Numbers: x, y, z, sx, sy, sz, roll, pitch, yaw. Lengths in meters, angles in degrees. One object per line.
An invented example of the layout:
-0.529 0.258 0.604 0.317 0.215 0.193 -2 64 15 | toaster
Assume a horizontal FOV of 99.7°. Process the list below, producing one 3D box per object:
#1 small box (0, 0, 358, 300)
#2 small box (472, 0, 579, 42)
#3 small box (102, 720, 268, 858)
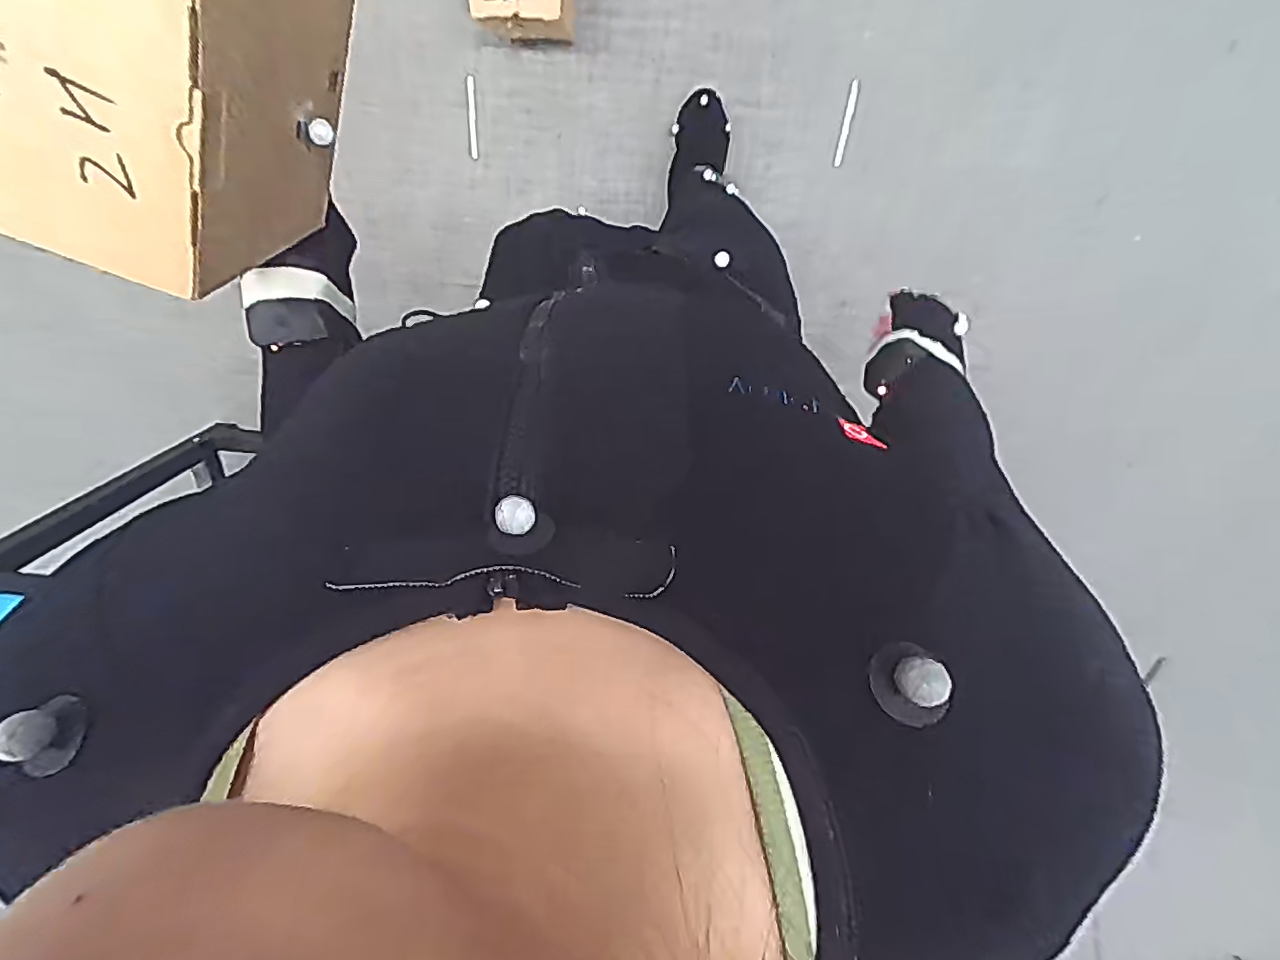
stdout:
-0.284 -0.233 0.286 0.179 0.176 0.168 22 125 -21 | small box
-0.205 -0.933 0.992 0.168 0.176 0.179 5 119 2 | small box
-0.894 0.617 1.086 0.168 0.176 0.179 5 120 1 | small box
